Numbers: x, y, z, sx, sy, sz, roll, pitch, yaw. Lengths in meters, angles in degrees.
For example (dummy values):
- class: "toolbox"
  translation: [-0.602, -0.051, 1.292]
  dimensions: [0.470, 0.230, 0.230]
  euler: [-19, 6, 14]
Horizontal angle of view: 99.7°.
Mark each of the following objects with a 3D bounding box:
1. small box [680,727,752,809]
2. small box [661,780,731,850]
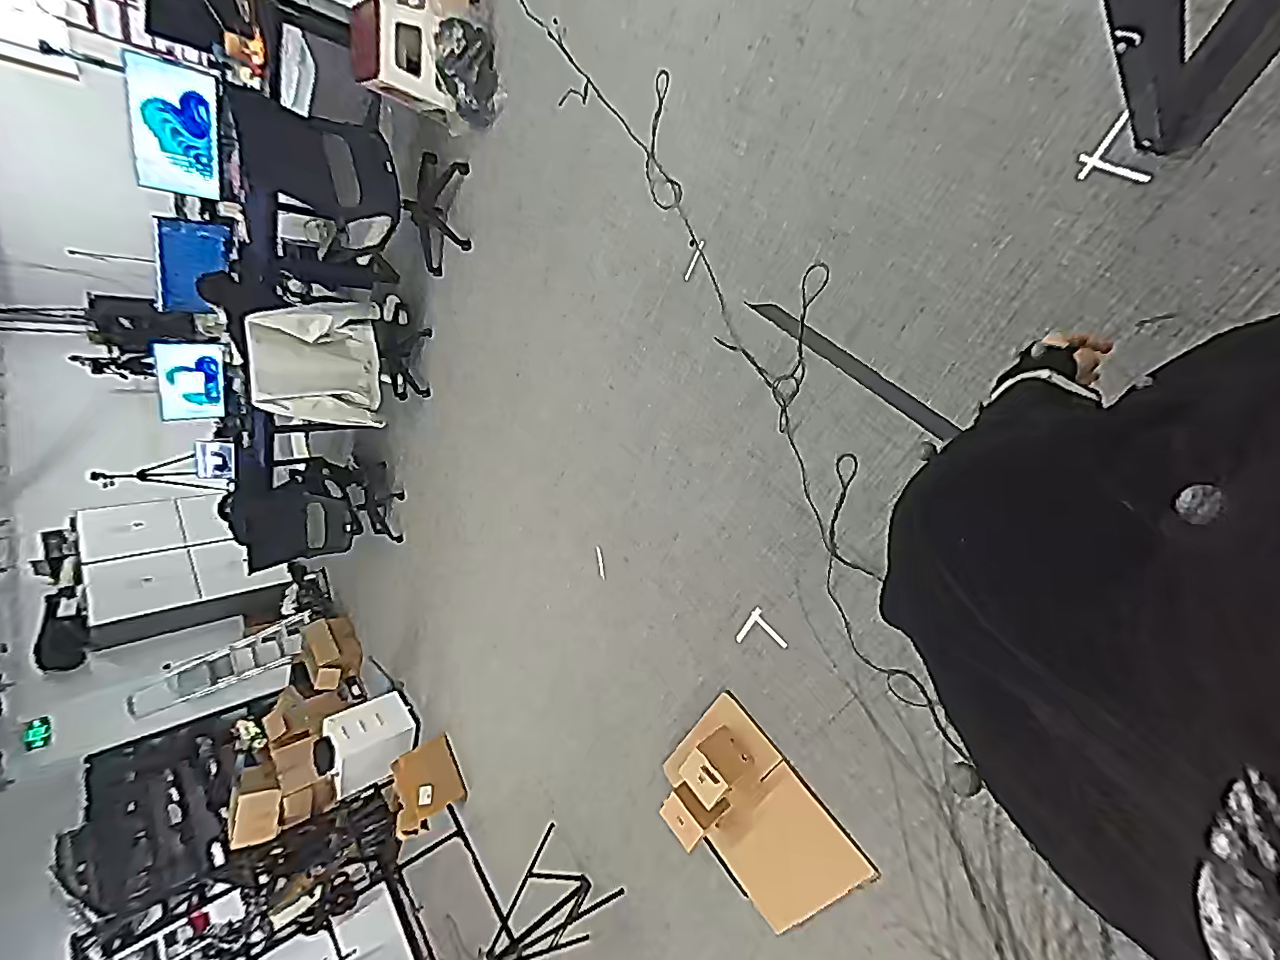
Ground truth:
- class: "small box"
  translation: [0.282, 1.040, 1.967]
  dimensions: [0.168, 0.176, 0.179]
  euler: [43, 126, 31]
- class: "small box"
  translation: [0.215, 1.263, 2.084]
  dimensions: [0.179, 0.176, 0.168]
  euler: [40, 126, 32]
